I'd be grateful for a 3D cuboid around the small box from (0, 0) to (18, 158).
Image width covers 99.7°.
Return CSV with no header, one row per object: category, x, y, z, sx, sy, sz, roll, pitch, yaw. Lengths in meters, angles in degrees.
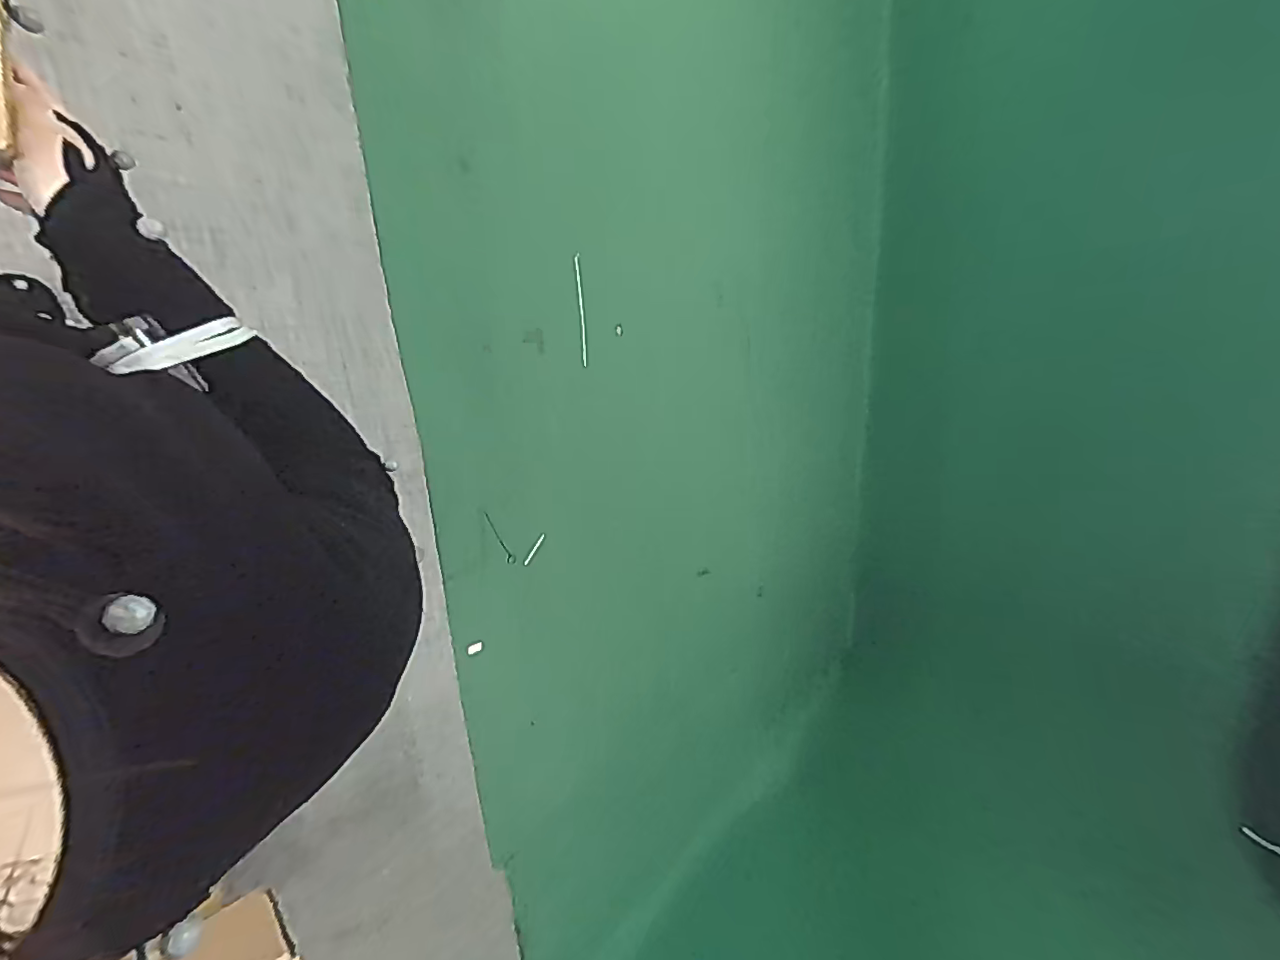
small box,-0.434,-0.282,0.262,0.168,0.176,0.179,-3,109,-47
